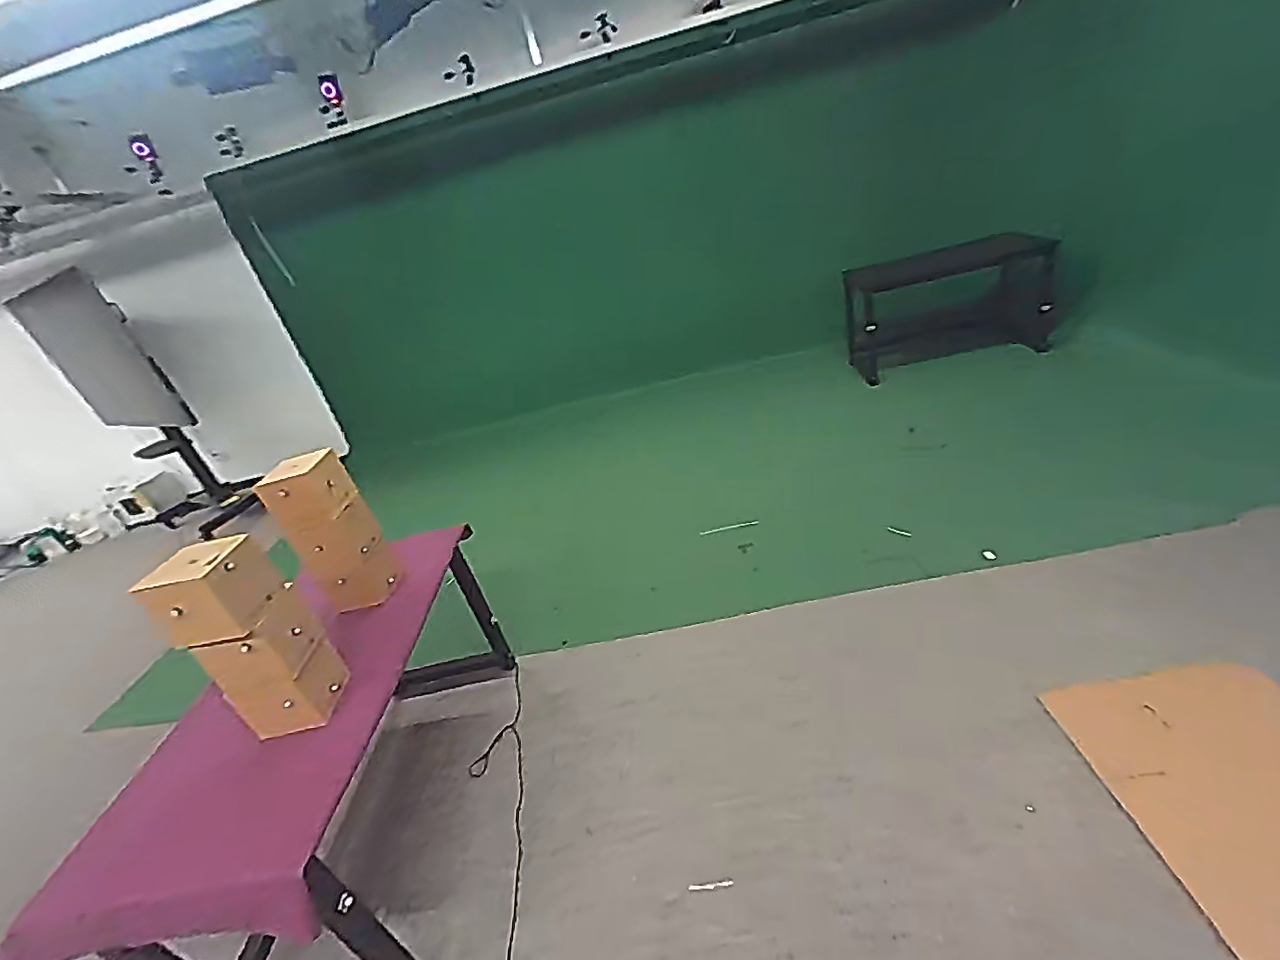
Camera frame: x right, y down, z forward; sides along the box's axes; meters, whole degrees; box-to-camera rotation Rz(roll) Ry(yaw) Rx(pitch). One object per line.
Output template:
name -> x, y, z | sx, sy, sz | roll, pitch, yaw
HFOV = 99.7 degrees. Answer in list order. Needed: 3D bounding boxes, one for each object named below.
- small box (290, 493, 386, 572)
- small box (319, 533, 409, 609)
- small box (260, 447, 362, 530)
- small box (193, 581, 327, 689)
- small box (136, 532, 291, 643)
small box -> -0.947, 0.168, 1.715 | 0.179, 0.176, 0.168 | -14, 29, 8
small box -> -0.909, 0.305, 1.794 | 0.179, 0.176, 0.168 | -12, 30, 7
small box -> -0.990, 0.026, 1.648 | 0.179, 0.176, 0.168 | -15, 30, 6
small box -> -0.906, 0.377, 1.311 | 0.179, 0.176, 0.168 | -14, 27, 3
small box -> -0.948, 0.246, 1.220 | 0.179, 0.176, 0.168 | -12, 28, 6
